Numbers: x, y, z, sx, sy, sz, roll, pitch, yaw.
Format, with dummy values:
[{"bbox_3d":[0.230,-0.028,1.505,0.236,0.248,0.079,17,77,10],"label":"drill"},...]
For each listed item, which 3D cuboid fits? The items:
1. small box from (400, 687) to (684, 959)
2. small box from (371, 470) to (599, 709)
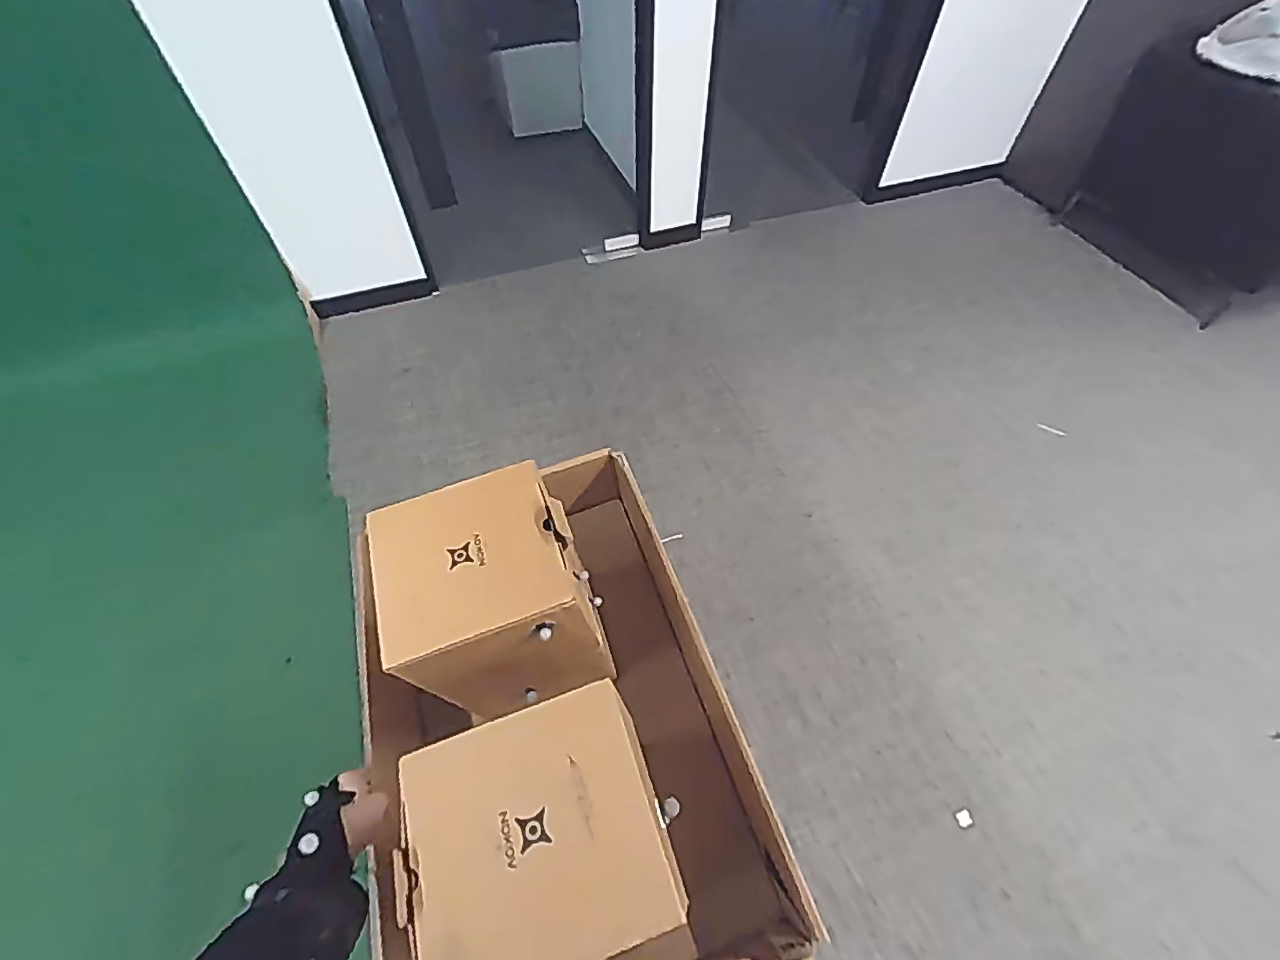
[{"bbox_3d":[-0.071,0.301,0.448,0.179,0.176,0.168,-19,57,-8],"label":"small box"},{"bbox_3d":[-0.157,0.123,0.577,0.179,0.176,0.168,-19,58,-8],"label":"small box"}]
